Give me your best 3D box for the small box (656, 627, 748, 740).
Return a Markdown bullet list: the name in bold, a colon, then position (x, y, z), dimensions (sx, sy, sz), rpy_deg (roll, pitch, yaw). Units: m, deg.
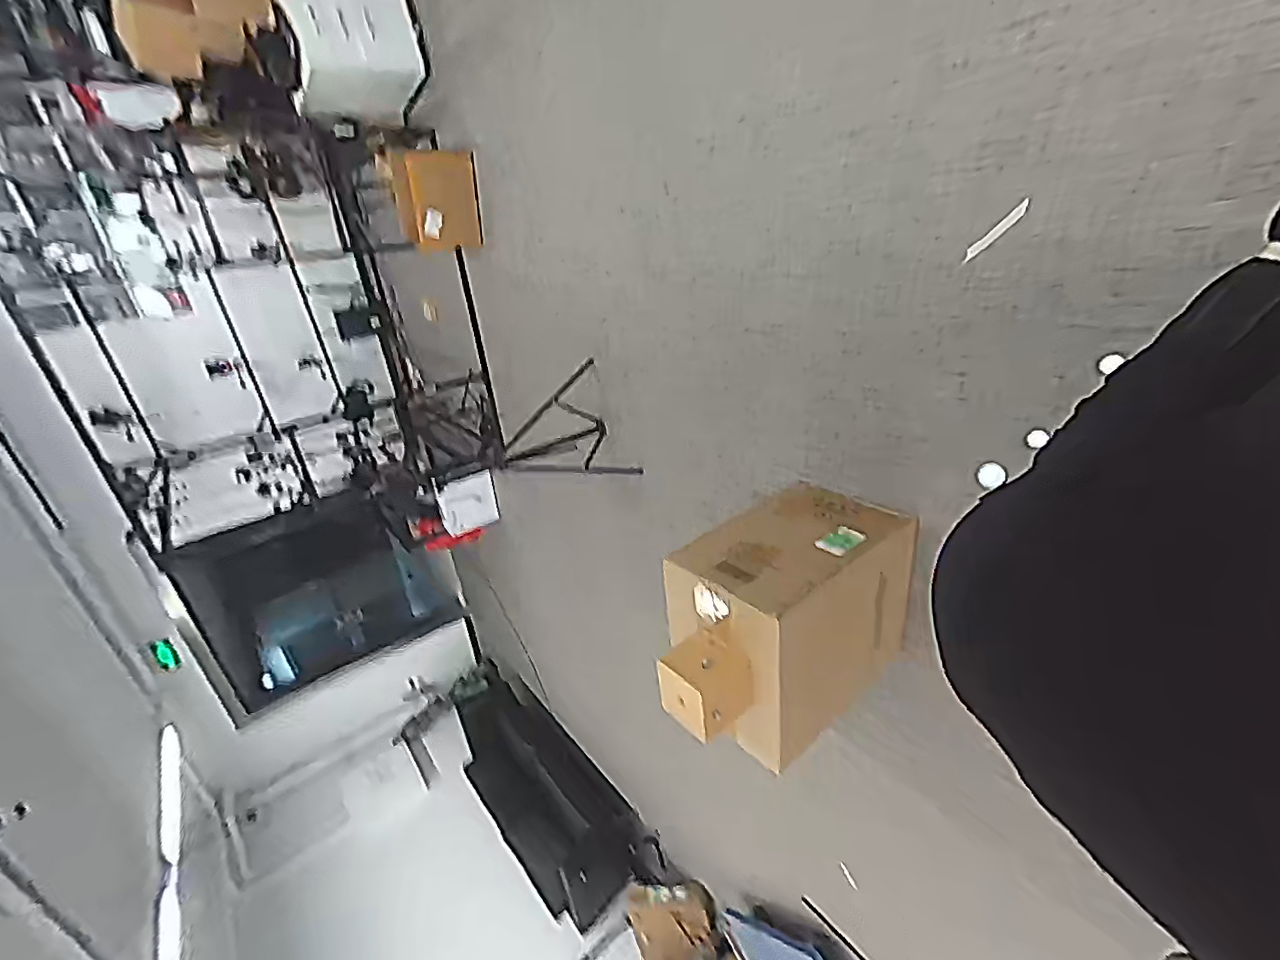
- **small box**: position (0.164, 0.512, 1.389), dimensions (0.168, 0.176, 0.179), rpy_deg (23, 129, 47)
